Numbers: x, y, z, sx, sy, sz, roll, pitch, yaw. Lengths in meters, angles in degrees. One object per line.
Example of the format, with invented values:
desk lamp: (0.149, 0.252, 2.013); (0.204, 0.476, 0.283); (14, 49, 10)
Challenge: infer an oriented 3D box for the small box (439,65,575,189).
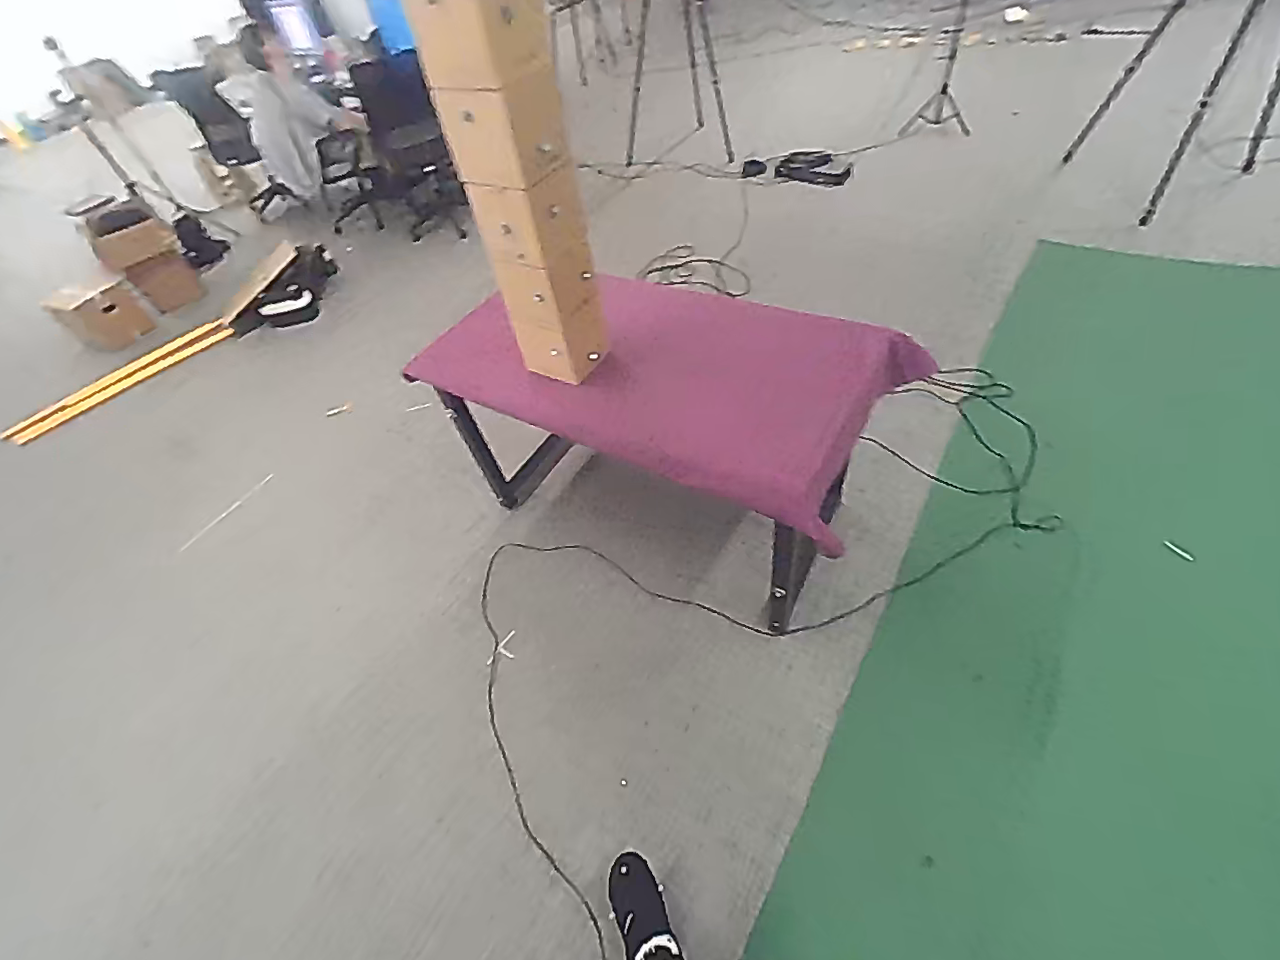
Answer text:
small box: (-0.255, -0.700, 1.074); (0.179, 0.176, 0.168); (21, 56, 24)

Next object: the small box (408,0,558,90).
small box: (-0.270, -0.806, 0.952); (0.179, 0.176, 0.168); (20, 56, 25)

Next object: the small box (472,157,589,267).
small box: (-0.232, -0.598, 1.201); (0.168, 0.176, 0.179); (21, 57, 24)

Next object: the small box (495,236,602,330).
small box: (-0.213, -0.489, 1.321); (0.179, 0.176, 0.168); (21, 57, 26)
